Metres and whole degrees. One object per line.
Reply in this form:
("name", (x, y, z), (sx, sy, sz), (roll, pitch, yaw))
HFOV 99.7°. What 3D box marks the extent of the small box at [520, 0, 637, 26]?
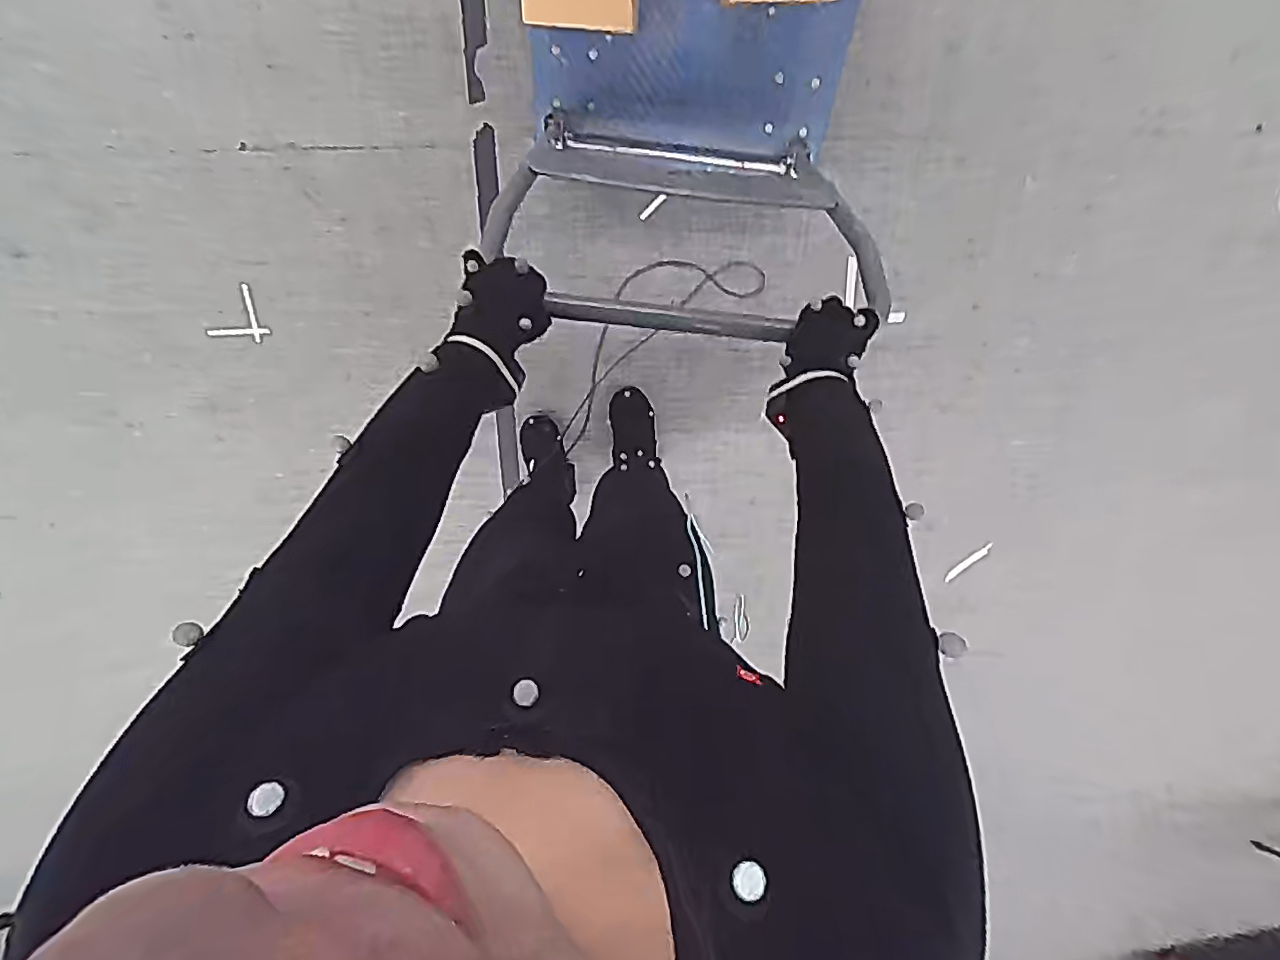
("small box", (-0.092, -0.832, 0.855), (0.179, 0.176, 0.168), (3, 130, -1))
